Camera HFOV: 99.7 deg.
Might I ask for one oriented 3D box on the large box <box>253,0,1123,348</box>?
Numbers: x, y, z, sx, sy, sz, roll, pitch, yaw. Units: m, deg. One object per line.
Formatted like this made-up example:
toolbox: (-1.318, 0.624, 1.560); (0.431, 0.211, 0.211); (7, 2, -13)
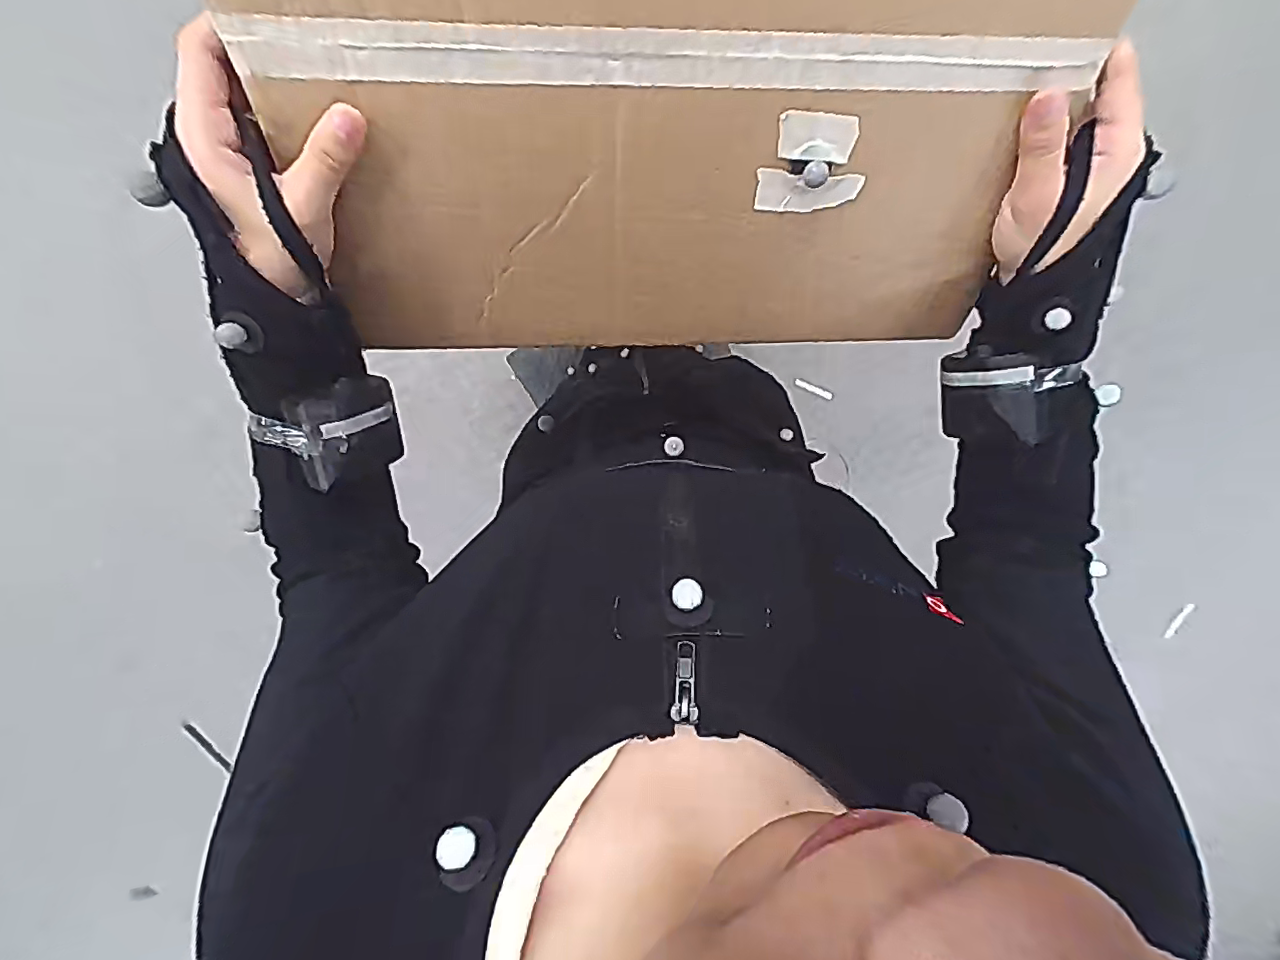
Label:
large box: (0.014, -0.309, 0.362); (0.408, 0.320, 0.320); (-2, 139, -6)

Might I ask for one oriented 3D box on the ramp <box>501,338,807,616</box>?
ramp: (0.103, -0.034, 1.493); (0.509, 0.206, 0.991); (-29, 110, 6)
